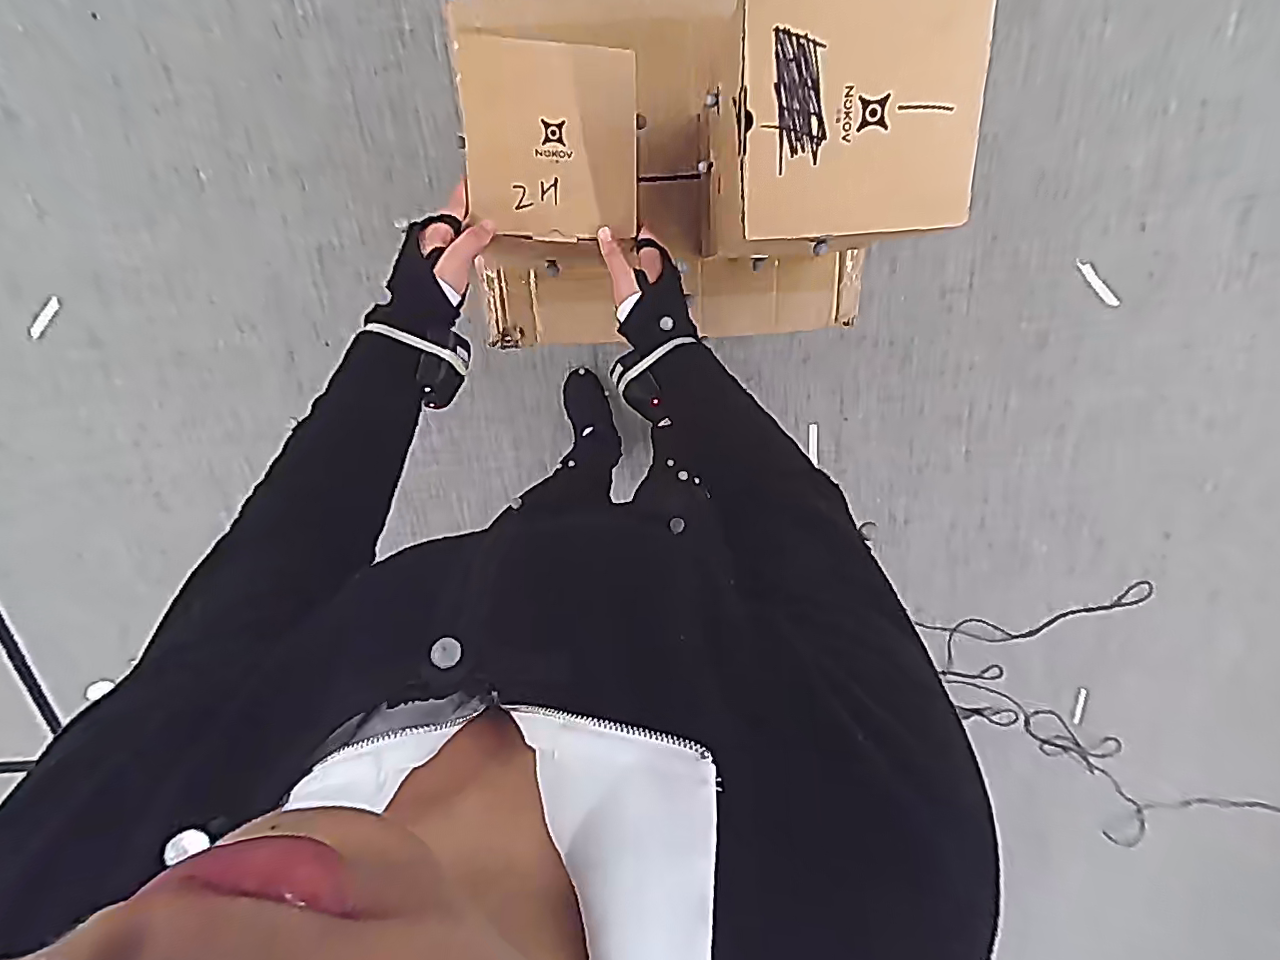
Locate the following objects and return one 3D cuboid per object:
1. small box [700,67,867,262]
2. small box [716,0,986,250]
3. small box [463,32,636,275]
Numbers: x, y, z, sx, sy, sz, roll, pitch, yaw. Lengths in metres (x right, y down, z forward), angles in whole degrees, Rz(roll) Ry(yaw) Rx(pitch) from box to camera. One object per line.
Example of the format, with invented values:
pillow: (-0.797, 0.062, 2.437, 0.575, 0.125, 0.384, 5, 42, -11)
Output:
small box: (0.159, -0.356, 0.631, 0.168, 0.176, 0.179, -3, 111, 3)
small box: (0.160, -0.300, 0.475, 0.179, 0.176, 0.168, -3, 110, 2)
small box: (-0.100, -0.340, 0.601, 0.168, 0.176, 0.179, -1, 100, -10)
